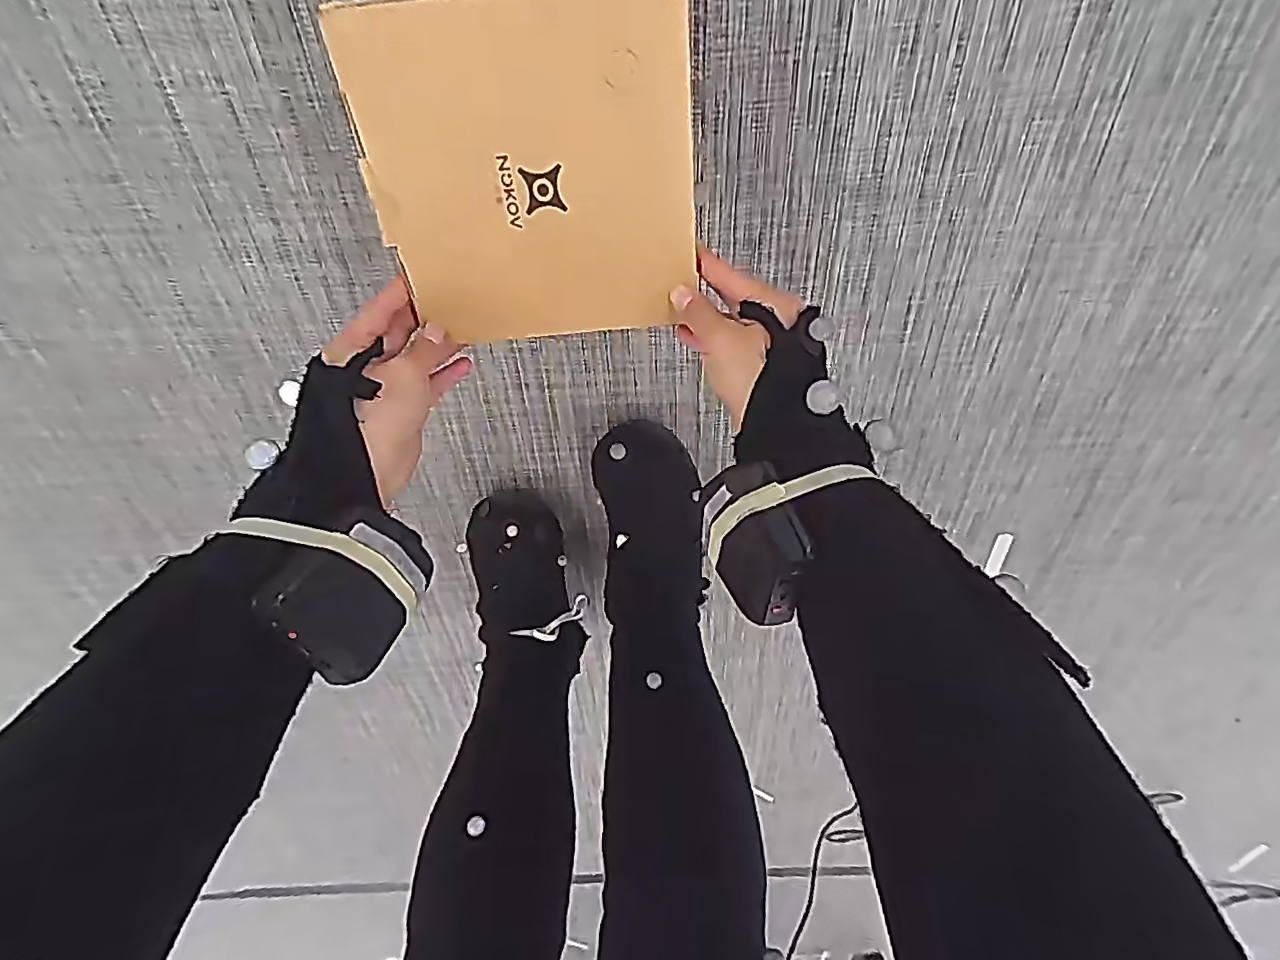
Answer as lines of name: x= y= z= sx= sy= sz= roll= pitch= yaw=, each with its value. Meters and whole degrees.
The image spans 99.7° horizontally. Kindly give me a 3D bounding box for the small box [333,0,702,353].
small box: x=-0.055 y=-0.201 z=0.361 sx=0.179 sy=0.176 sz=0.168 roll=-4 pitch=127 yaw=3
